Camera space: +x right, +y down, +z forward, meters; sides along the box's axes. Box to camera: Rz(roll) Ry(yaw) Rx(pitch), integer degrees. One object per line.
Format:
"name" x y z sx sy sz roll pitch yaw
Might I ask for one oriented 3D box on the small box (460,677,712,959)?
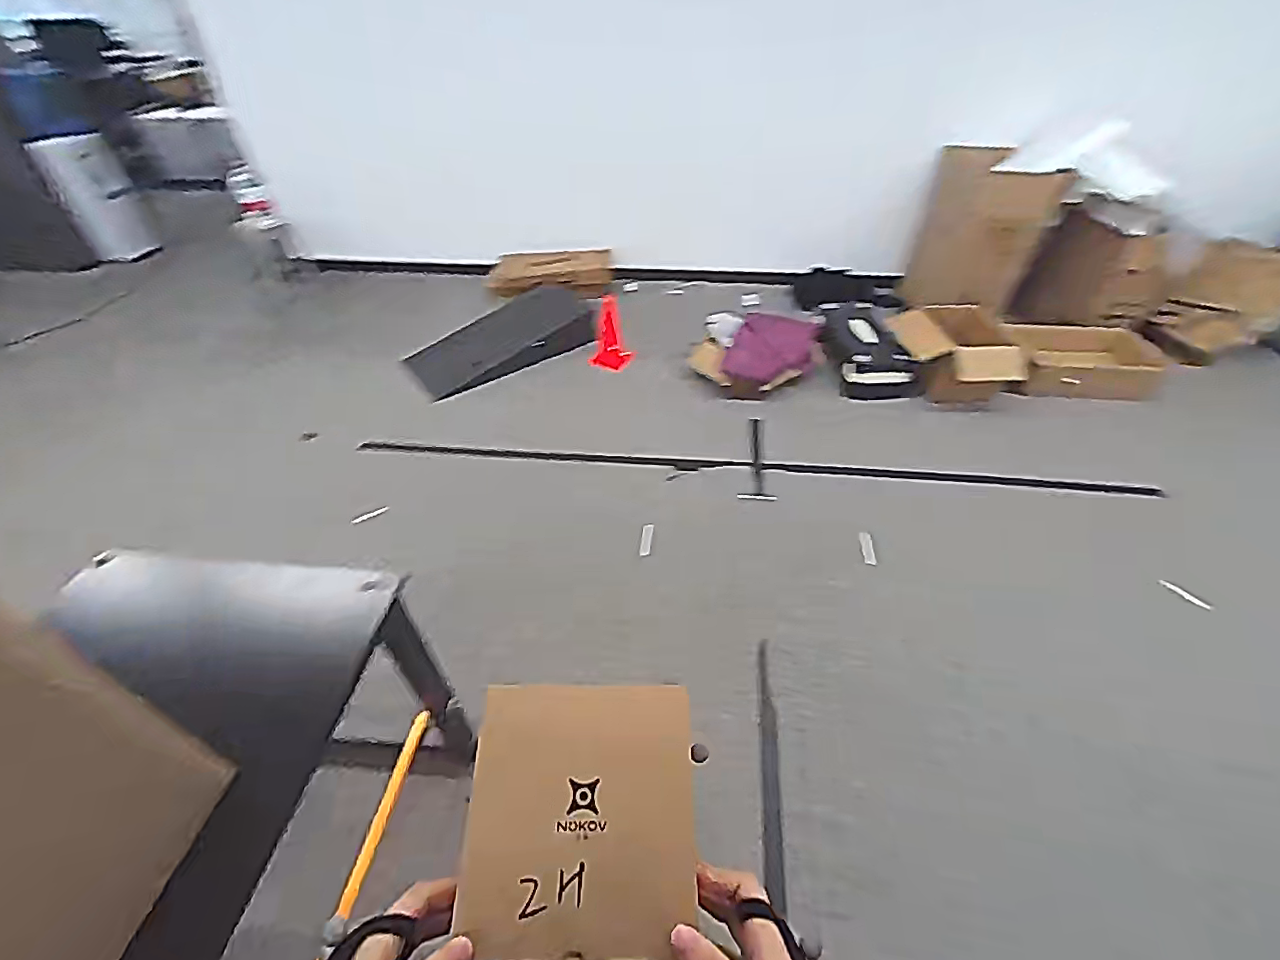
"small box" -0.033 0.280 0.458 0.168 0.176 0.179 1 56 1
